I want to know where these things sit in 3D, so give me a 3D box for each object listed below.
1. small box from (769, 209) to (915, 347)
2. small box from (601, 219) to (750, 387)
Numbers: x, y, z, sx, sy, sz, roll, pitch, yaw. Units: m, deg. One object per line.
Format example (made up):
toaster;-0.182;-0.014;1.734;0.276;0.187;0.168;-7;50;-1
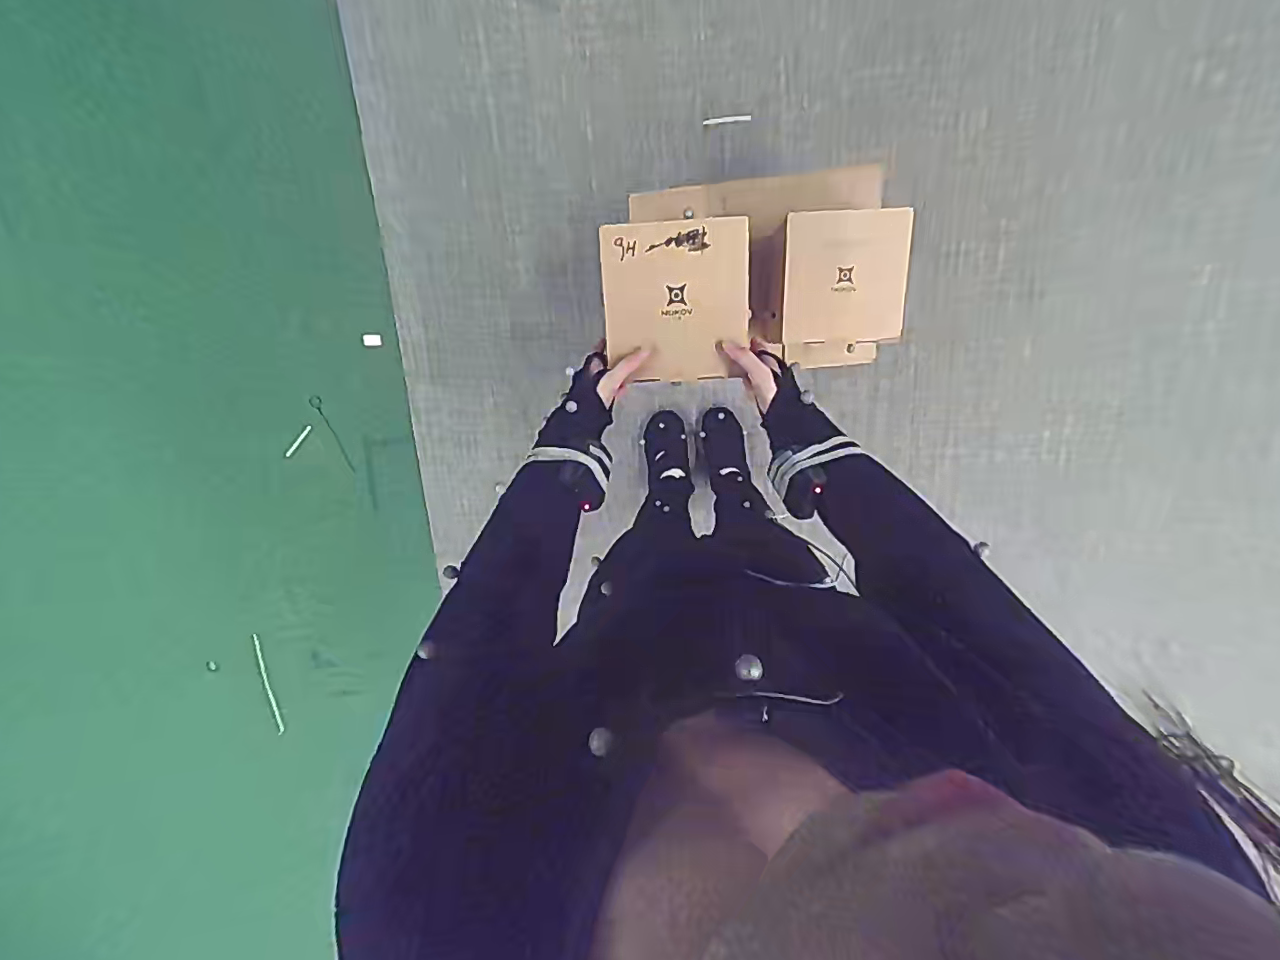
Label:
small box;0.291;-0.293;0.816;0.168;0.176;0.179;0;104;5
small box;0.047;-0.220;0.687;0.168;0.176;0.179;-2;107;4
